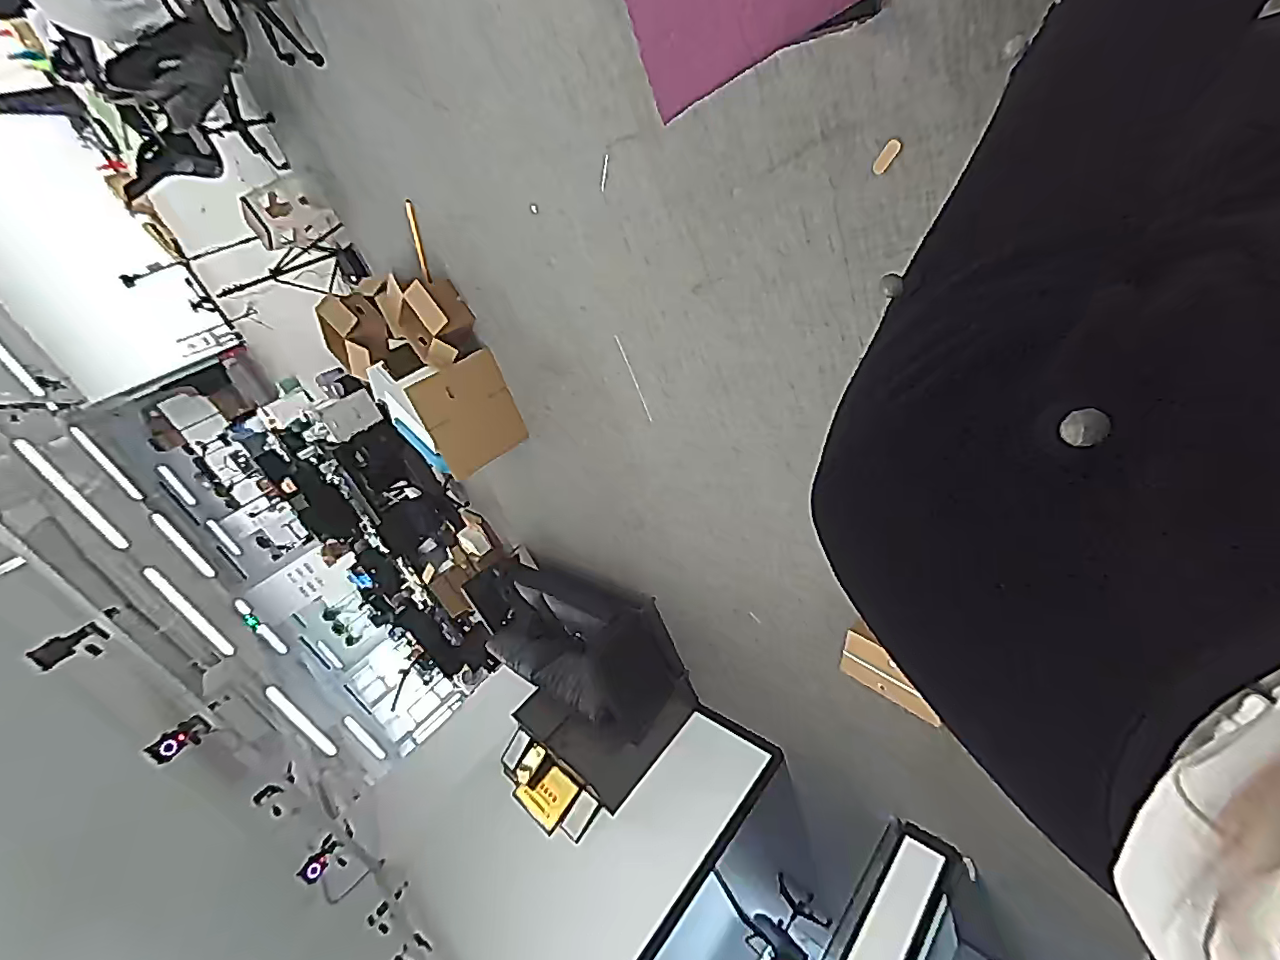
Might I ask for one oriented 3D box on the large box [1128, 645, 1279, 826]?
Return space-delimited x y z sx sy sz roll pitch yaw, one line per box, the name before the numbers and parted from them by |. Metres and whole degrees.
large box | 1.634 0.666 1.419 0.320 0.320 0.408 48 148 2
